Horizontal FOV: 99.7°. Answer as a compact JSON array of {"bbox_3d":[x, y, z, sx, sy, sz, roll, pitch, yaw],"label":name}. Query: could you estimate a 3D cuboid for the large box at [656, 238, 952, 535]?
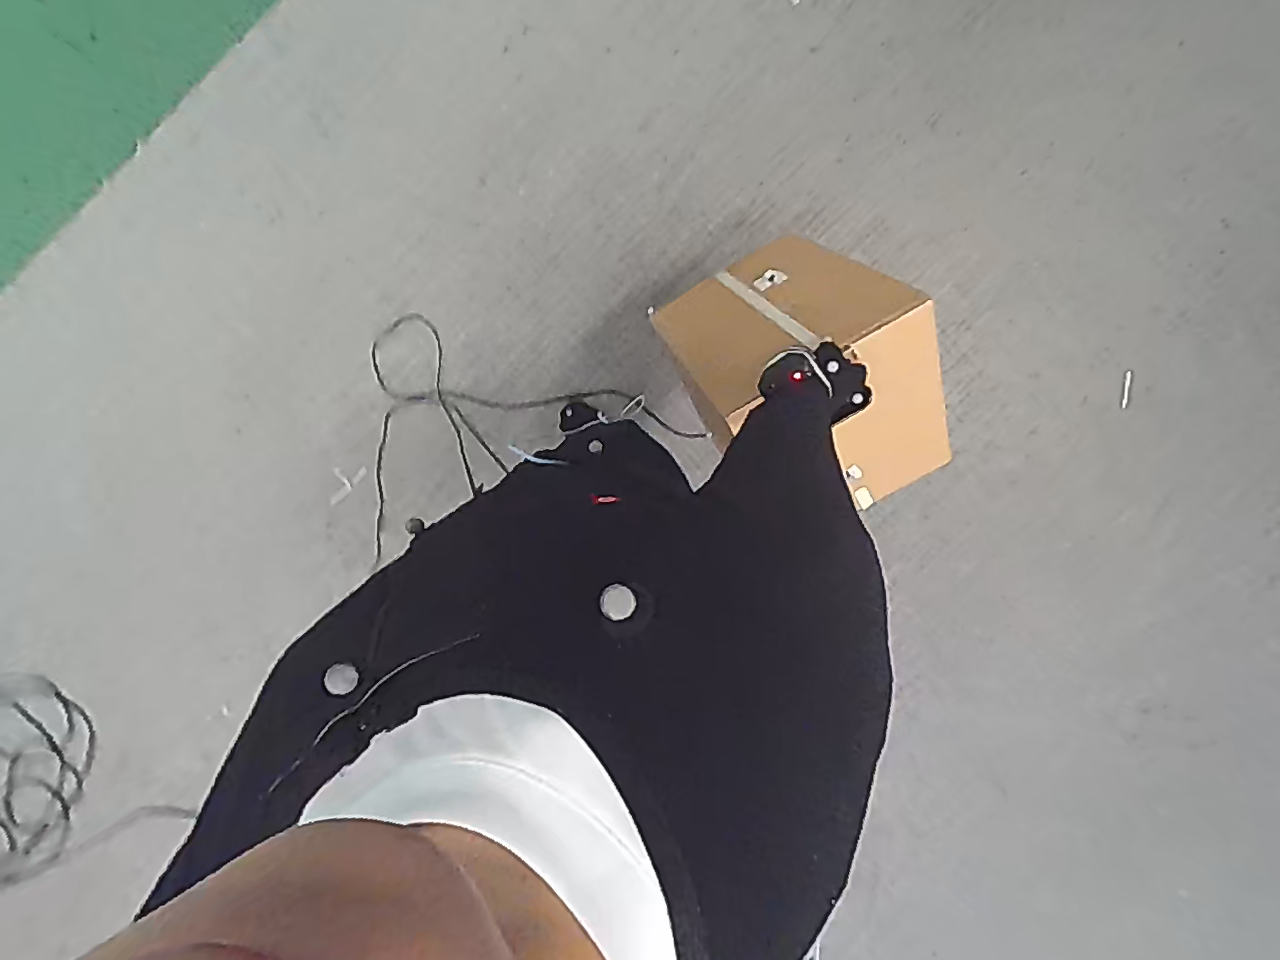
[{"bbox_3d":[0.278,-0.180,0.977,0.320,0.408,0.320,-29,127,4],"label":"large box"}]
